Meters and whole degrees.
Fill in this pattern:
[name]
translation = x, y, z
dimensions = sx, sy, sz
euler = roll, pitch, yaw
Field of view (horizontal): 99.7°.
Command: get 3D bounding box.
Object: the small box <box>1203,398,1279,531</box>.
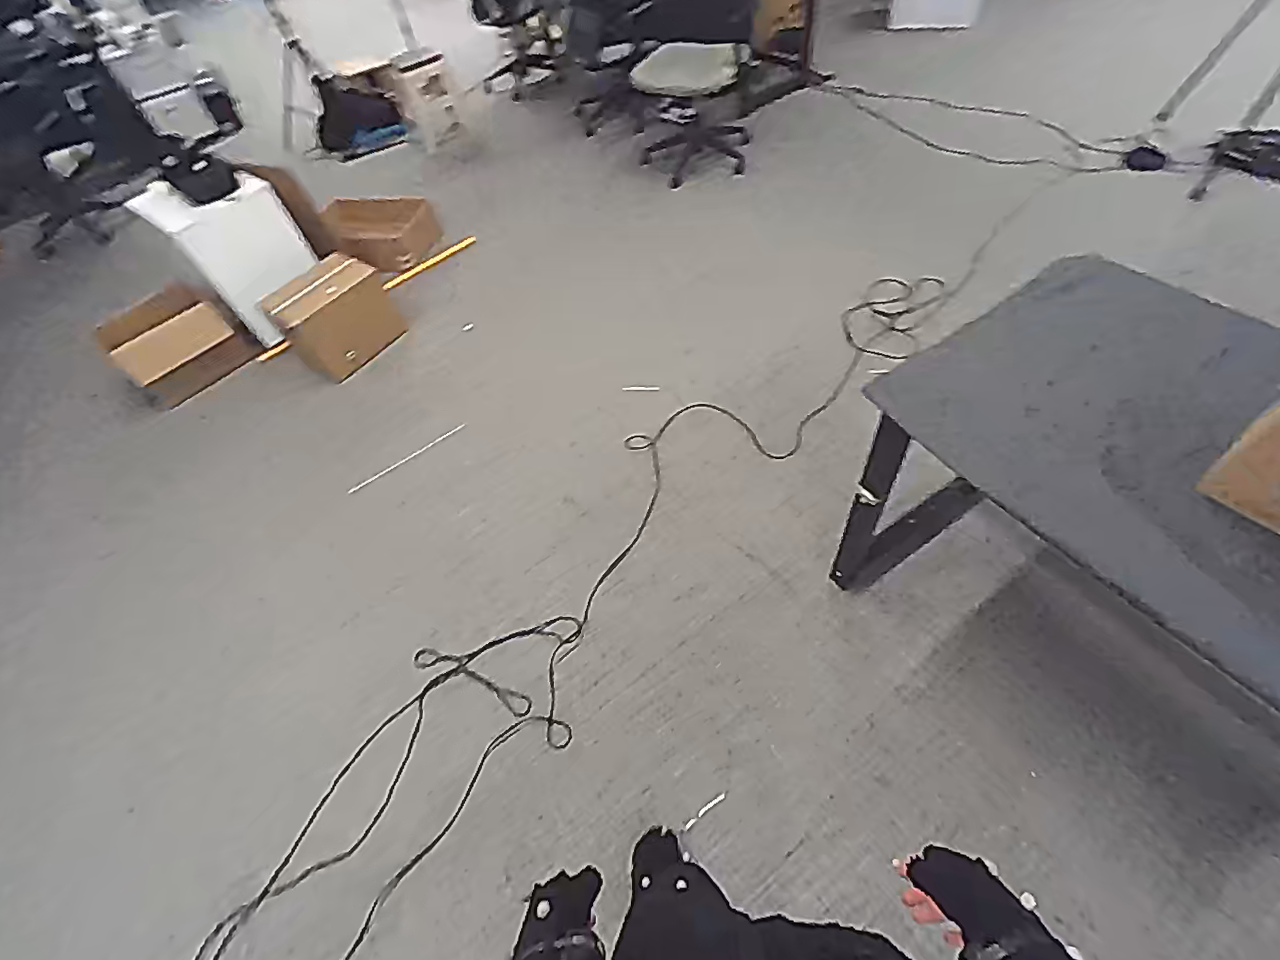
[small box]
translation = 0.888, -0.038, 0.680
dimensions = 0.179, 0.176, 0.168
euler = -35, 56, -16
